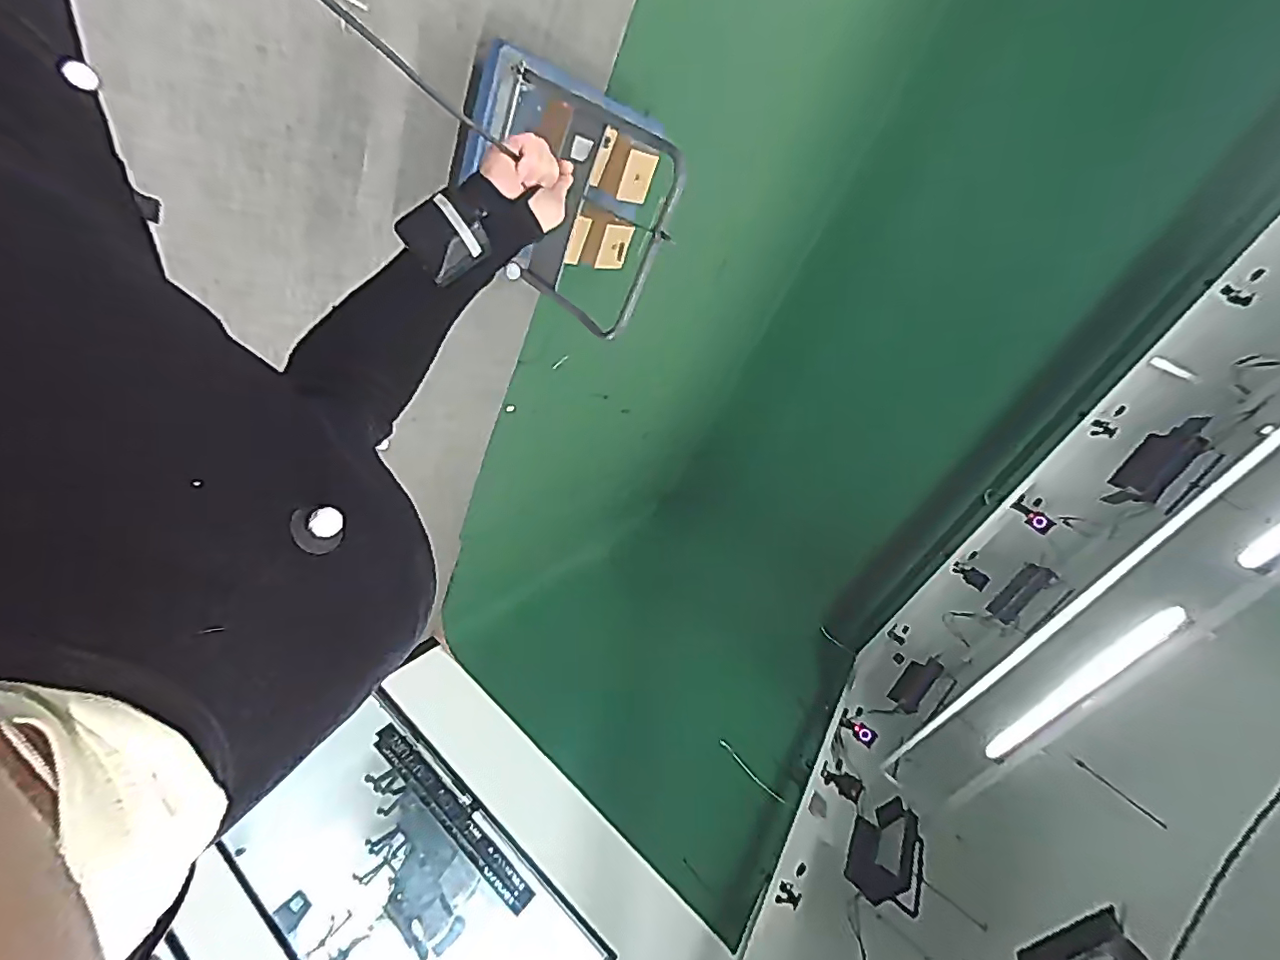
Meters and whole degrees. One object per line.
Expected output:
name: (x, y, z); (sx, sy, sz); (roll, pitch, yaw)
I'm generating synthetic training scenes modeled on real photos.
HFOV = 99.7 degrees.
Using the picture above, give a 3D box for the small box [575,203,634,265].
small box: (-0.159, -0.947, 2.087); (0.179, 0.176, 0.168); (-26, 148, -50)

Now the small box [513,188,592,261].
small box: (-0.305, -0.882, 1.869); (0.179, 0.176, 0.168); (-22, 146, -54)

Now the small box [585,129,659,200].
small box: (-0.069, -1.137, 1.948); (0.179, 0.176, 0.168); (-27, 150, -51)
